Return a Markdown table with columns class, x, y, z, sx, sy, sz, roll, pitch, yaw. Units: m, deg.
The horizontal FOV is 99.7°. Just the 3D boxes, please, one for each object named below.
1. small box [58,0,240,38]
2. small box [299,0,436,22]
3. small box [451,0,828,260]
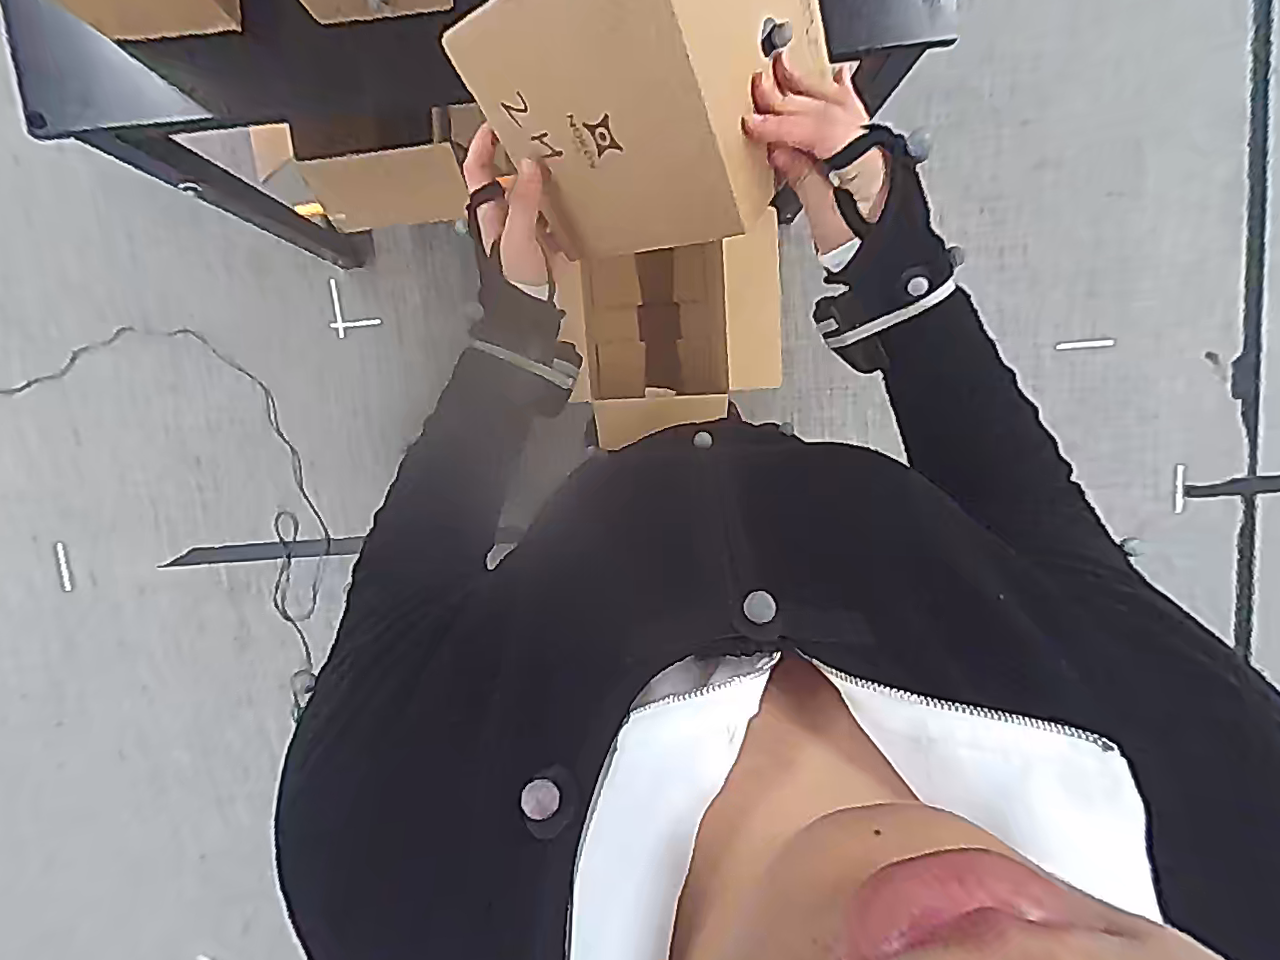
| class | x | y | z | sx | sy | sz | roll | pitch | yaw |
| --- | --- | --- | --- | --- | --- | --- | --- | --- | --- |
| small box | -0.592 | -0.628 | 0.593 | 0.179 | 0.176 | 0.168 | -4 | 97 | -1 |
| small box | -0.330 | -0.653 | 0.593 | 0.179 | 0.176 | 0.168 | -7 | 96 | -1 |
| small box | 0.016 | -0.284 | 0.377 | 0.176 | 0.179 | 0.168 | -59 | 137 | -24 |
